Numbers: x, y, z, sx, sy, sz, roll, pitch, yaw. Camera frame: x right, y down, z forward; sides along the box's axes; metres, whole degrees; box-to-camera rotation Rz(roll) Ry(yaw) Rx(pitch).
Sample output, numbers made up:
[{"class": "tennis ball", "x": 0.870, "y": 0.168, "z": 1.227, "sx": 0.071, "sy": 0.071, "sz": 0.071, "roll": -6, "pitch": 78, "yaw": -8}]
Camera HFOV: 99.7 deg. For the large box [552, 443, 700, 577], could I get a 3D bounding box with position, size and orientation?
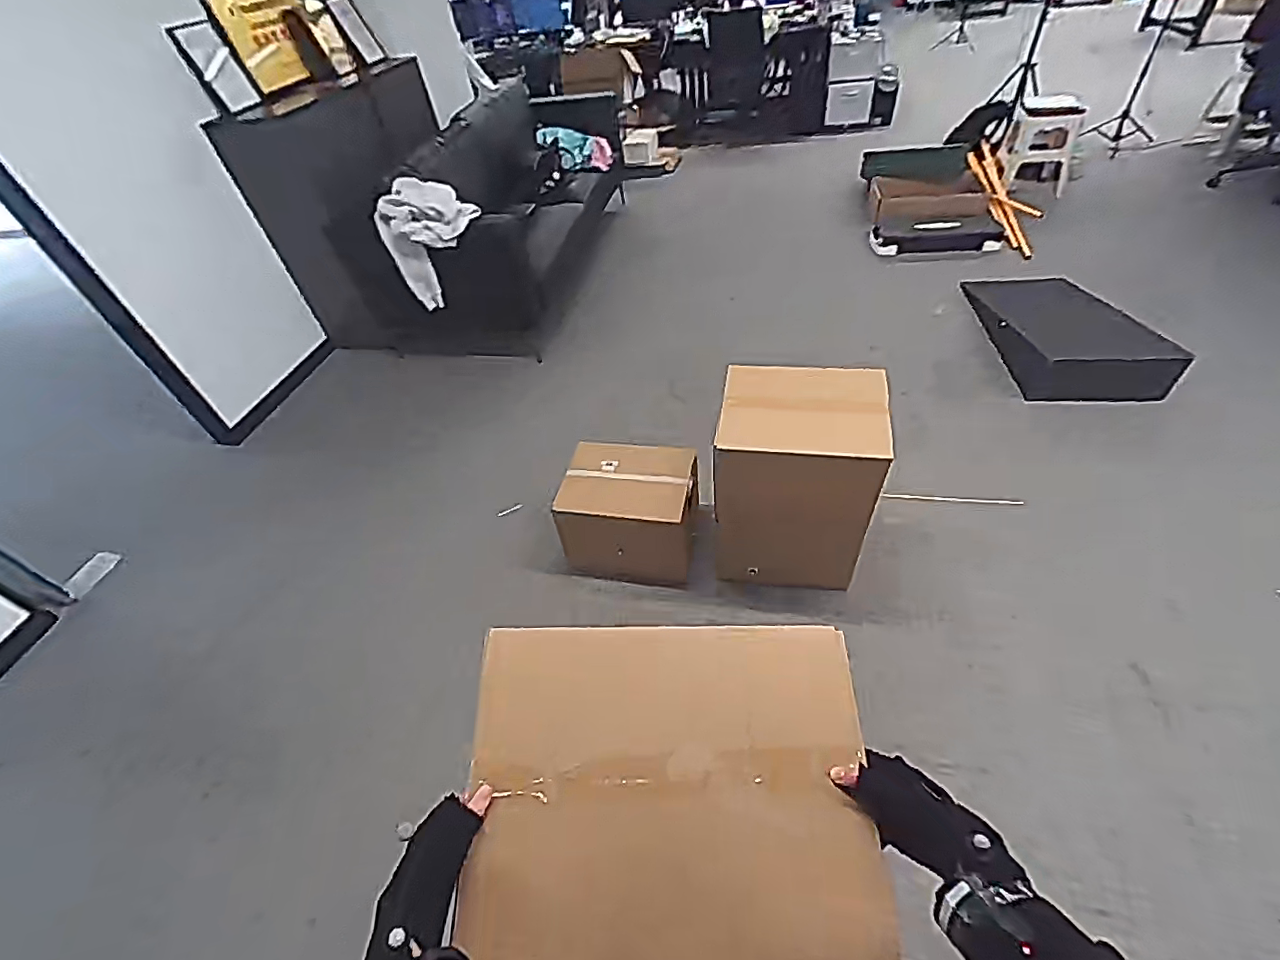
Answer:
[{"class": "large box", "x": -0.023, "y": 0.098, "z": 1.784, "sx": 0.408, "sy": 0.320, "sz": 0.320, "roll": 4, "pitch": 47, "yaw": 14}]
